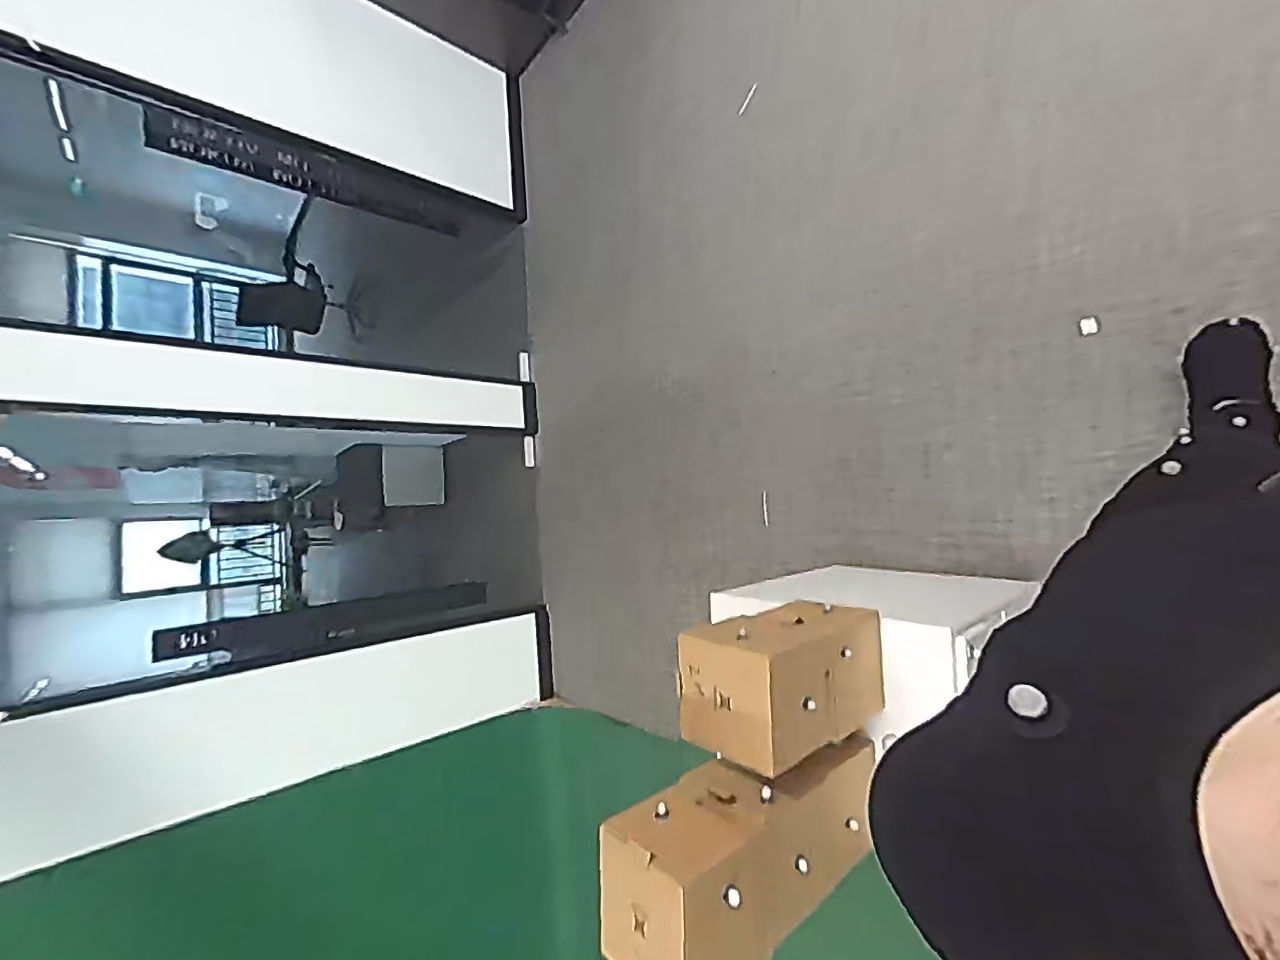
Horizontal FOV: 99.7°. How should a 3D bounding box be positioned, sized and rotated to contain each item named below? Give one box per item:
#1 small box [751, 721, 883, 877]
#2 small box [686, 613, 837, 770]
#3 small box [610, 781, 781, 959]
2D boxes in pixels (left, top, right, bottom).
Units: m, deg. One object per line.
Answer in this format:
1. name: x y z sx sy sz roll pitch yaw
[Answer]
1. small box: 0.316 0.543 0.963 0.168 0.176 0.179 -5 86 48
2. small box: 0.193 0.313 0.847 0.179 0.176 0.168 -2 89 49
3. small box: 0.076 0.550 0.739 0.168 0.176 0.179 -3 88 50
